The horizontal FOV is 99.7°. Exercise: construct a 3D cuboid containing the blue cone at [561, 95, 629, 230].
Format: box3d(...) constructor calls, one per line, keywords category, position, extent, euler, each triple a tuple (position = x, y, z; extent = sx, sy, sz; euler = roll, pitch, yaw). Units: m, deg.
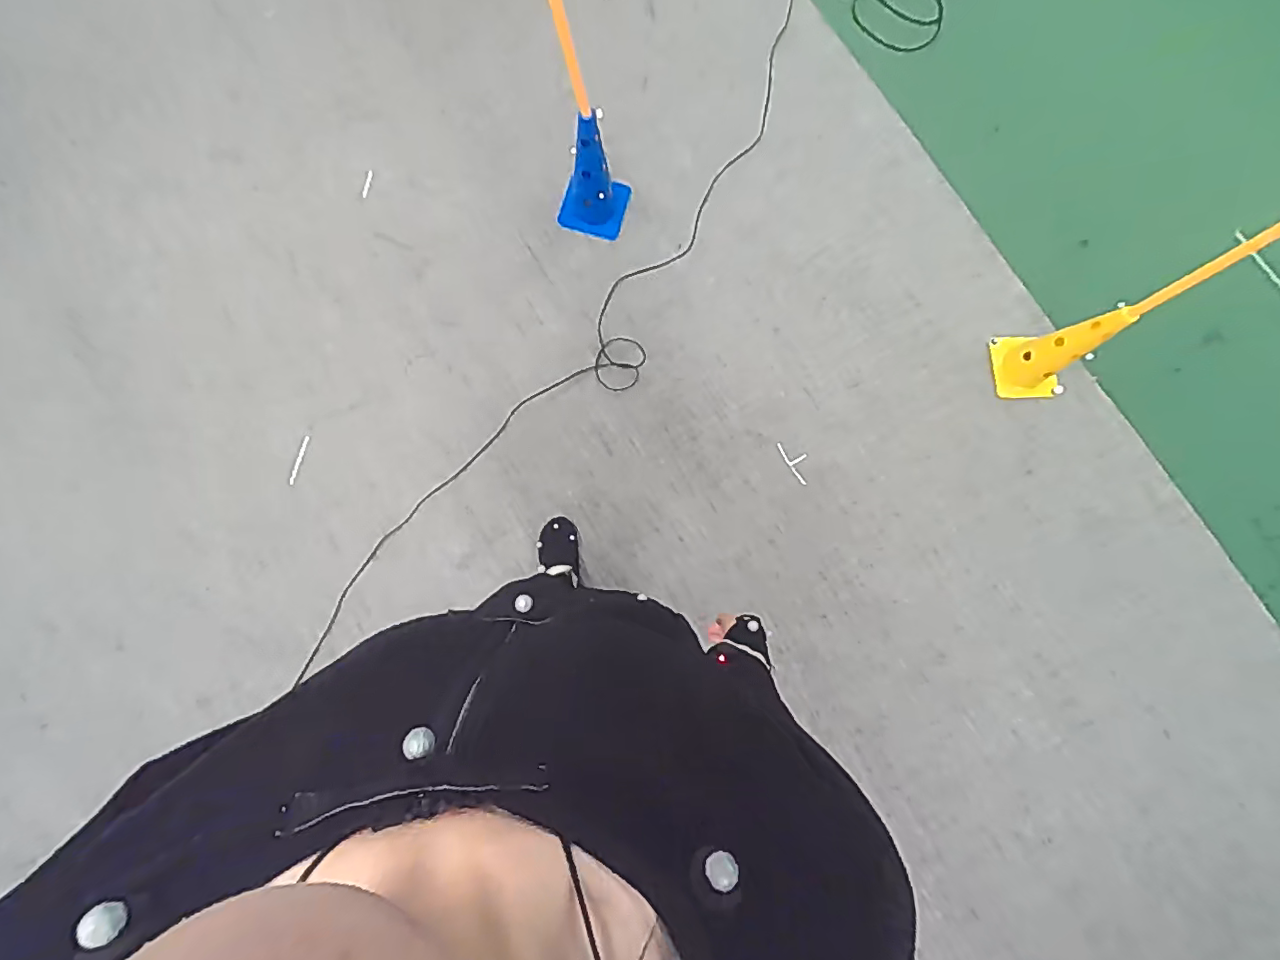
box3d(category="blue cone", position=(-0.137, -0.899, 1.518), extent=(0.193, 0.380, 0.192), euler=(14, 81, 1))
